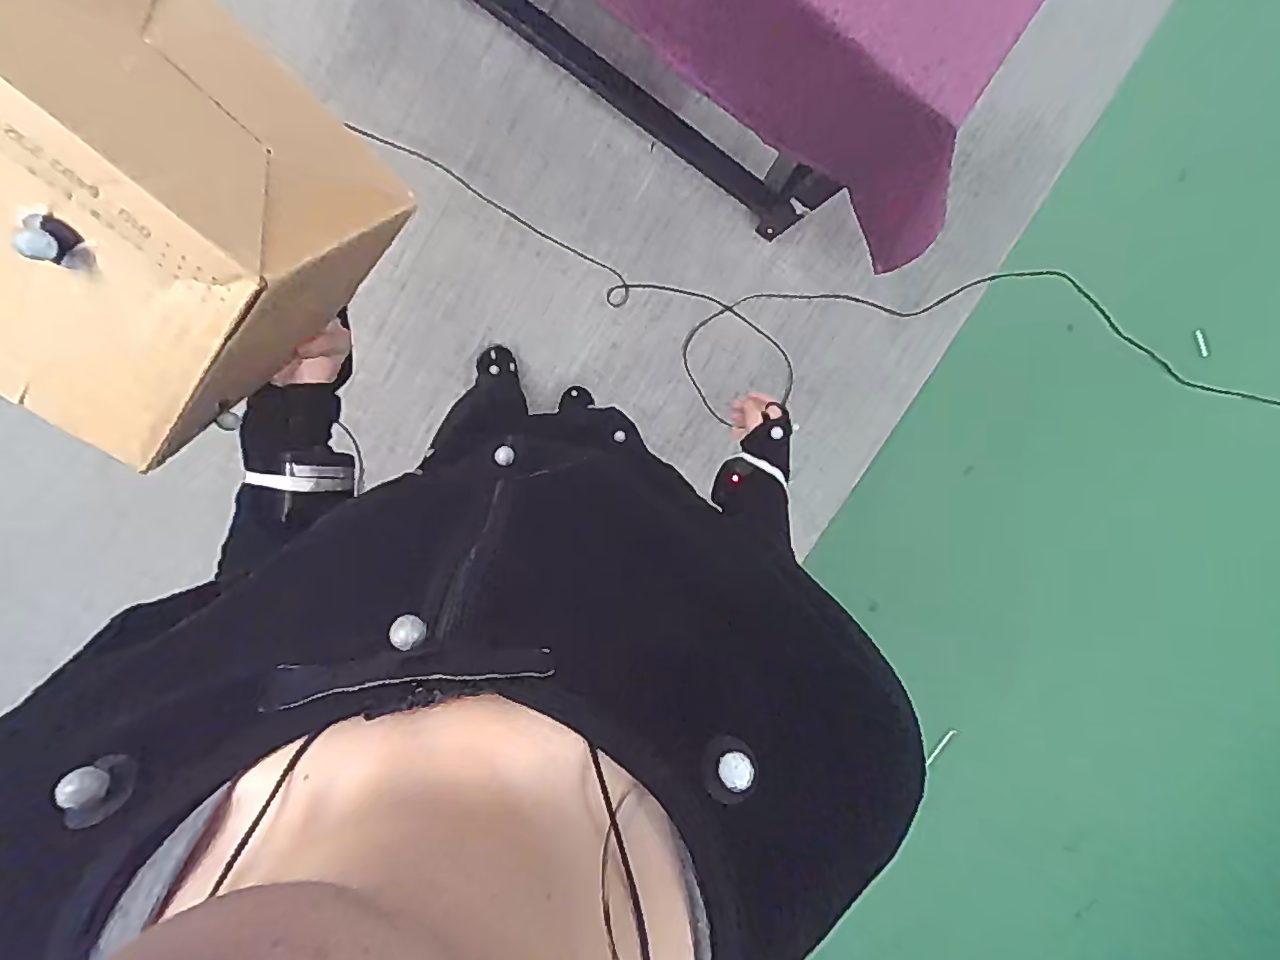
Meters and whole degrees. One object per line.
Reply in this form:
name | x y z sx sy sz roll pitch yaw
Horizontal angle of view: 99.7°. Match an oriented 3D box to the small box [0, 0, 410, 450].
small box | -0.265 -0.157 0.303 0.176 0.179 0.168 -36 118 27
